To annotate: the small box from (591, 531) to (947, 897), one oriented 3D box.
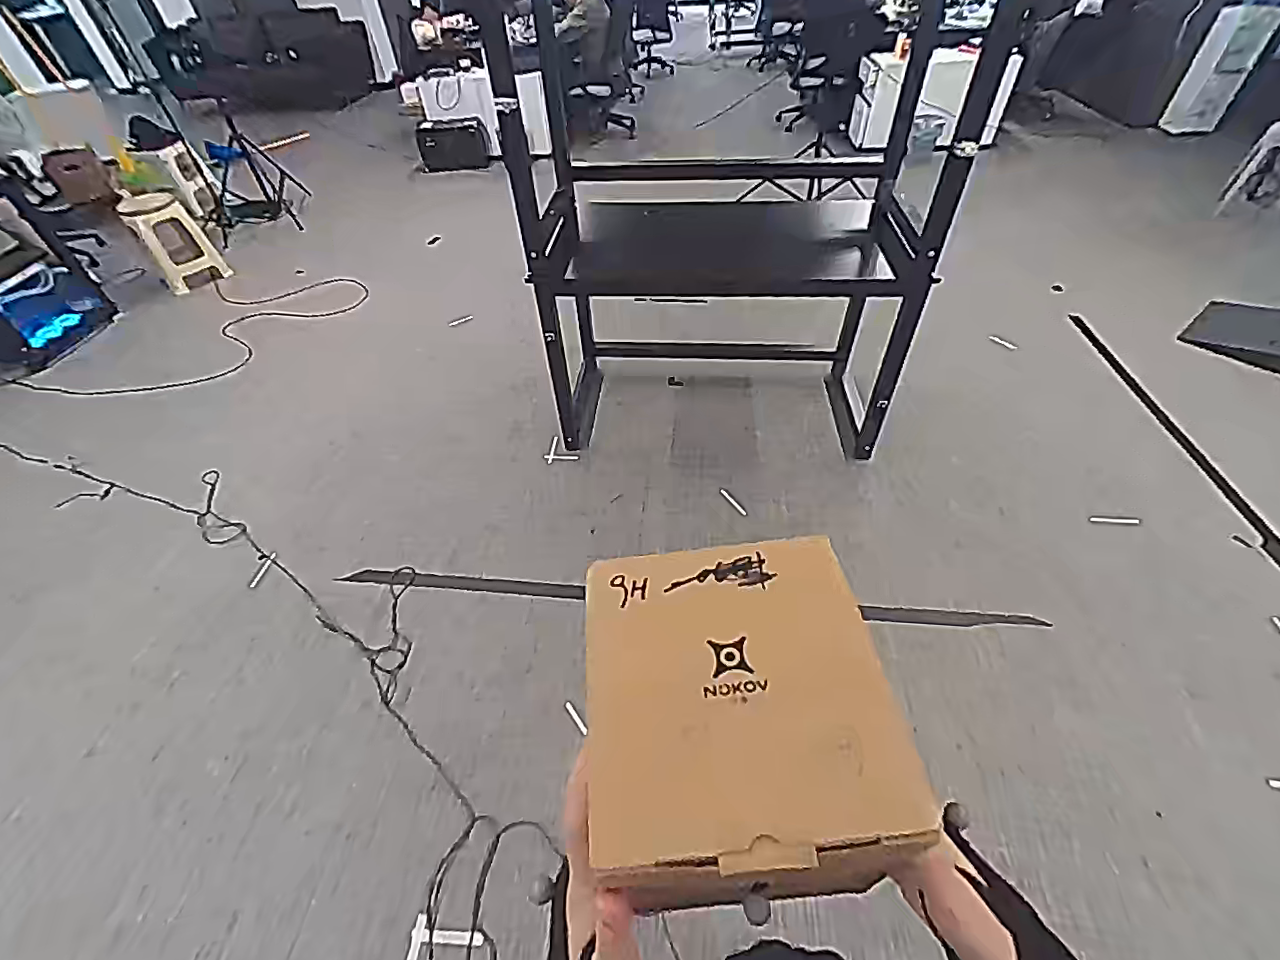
[{"bbox_3d":[0.061,0.159,0.358,0.168,0.176,0.179,-6,47,1],"label":"small box"}]
